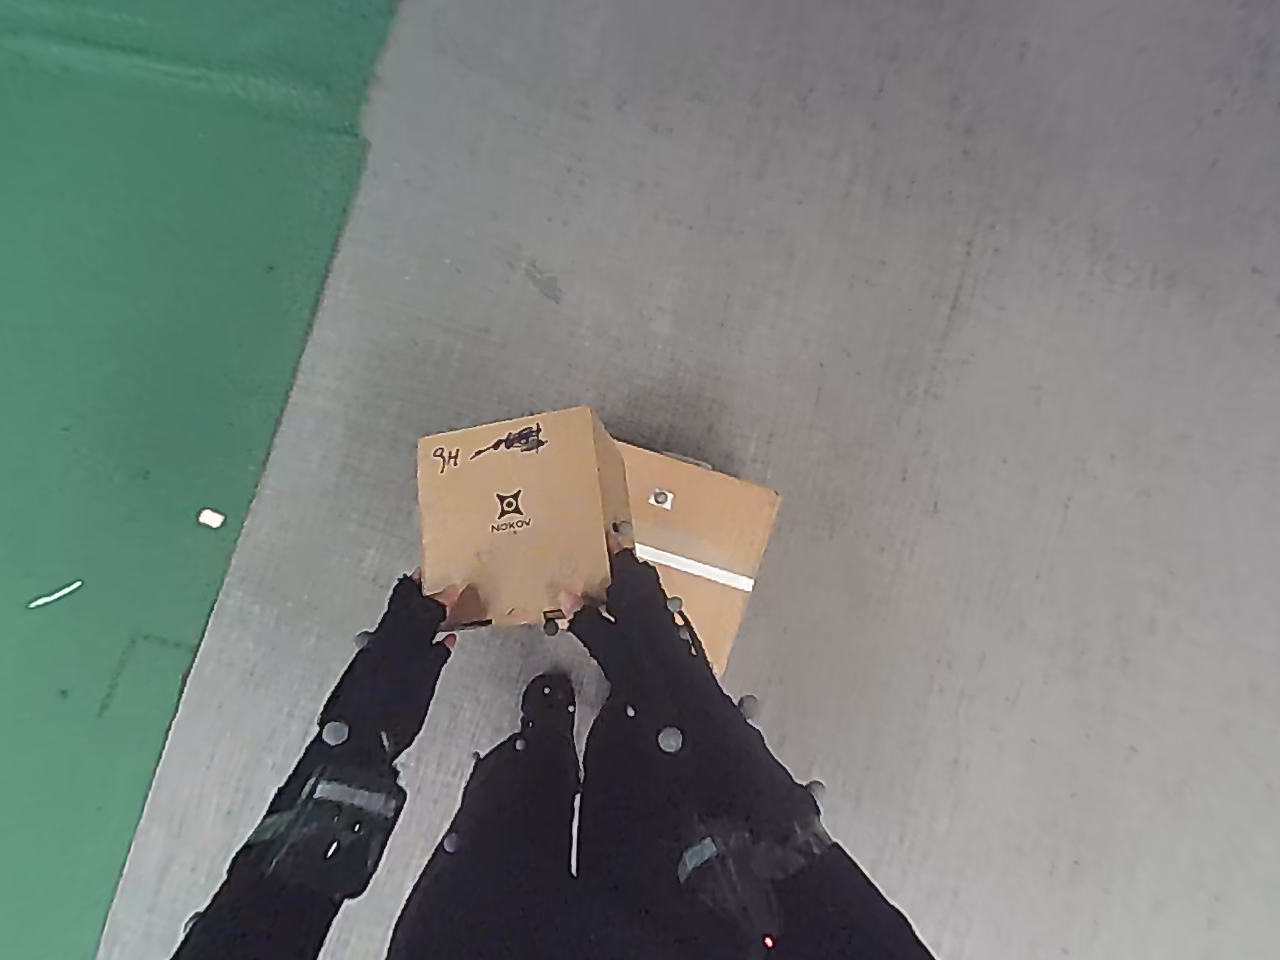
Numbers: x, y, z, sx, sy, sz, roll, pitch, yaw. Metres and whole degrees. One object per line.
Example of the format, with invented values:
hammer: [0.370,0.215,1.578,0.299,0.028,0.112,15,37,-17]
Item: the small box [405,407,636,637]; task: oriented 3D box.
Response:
small box: [-0.106,0.050,0.533,0.168,0.176,0.179,-10,76,7]
